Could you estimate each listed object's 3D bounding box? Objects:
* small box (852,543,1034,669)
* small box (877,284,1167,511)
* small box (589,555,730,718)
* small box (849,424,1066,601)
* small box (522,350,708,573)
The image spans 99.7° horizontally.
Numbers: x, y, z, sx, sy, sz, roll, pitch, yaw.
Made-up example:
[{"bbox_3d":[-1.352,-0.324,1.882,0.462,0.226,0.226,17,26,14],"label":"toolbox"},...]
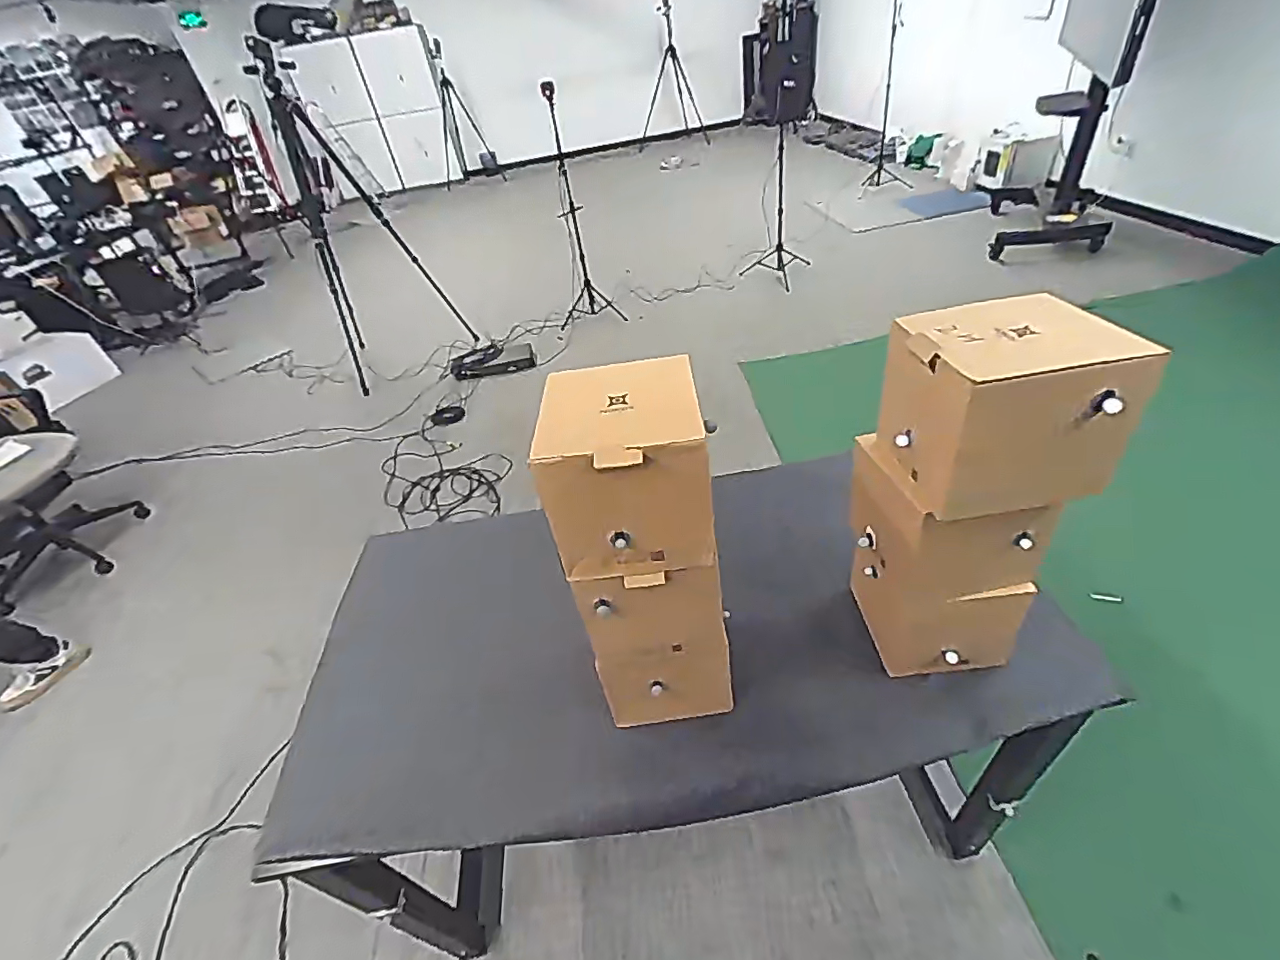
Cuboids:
[{"bbox_3d":[0.425,0.152,0.798,0.168,0.176,0.179,-8,39,5],"label":"small box"},{"bbox_3d":[0.378,-0.088,0.580,0.179,0.176,0.168,-10,36,3],"label":"small box"},{"bbox_3d":[0.028,0.230,0.801,0.179,0.176,0.168,-10,39,2],"label":"small box"},{"bbox_3d":[0.389,0.029,0.698,0.179,0.176,0.168,-14,37,-1],"label":"small box"},{"bbox_3d":[-0.019,-0.022,0.598,0.168,0.176,0.179,-7,39,3],"label":"small box"}]
